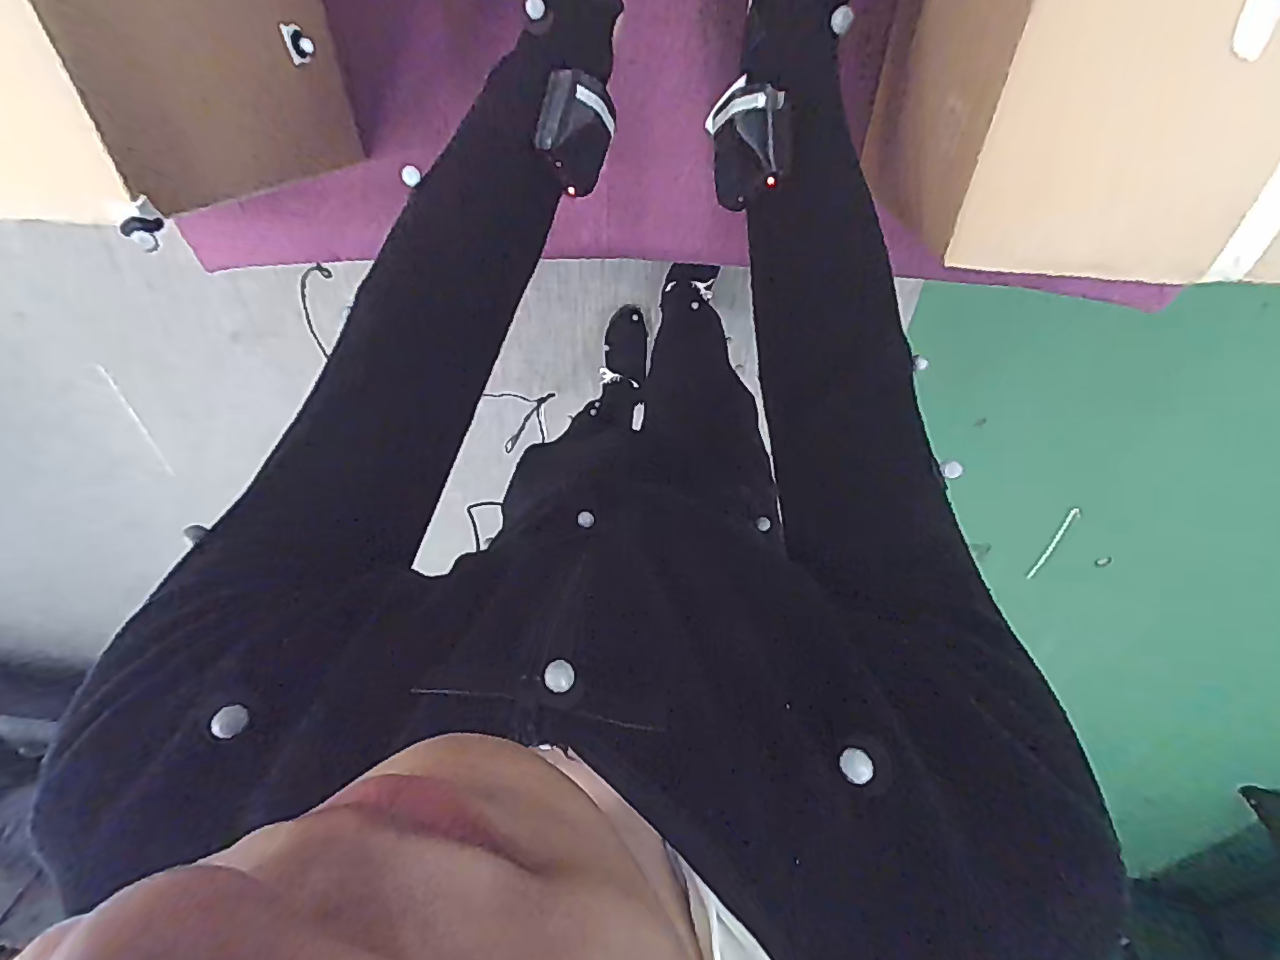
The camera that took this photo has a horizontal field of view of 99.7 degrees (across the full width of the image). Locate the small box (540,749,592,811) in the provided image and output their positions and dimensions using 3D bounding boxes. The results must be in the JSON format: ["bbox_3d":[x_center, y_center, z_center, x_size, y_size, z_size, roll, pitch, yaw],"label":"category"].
[{"bbox_3d":[-0.289,1.207,2.162,0.168,0.176,0.179,2,129,6],"label":"small box"}]

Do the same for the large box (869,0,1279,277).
[{"bbox_3d":[0.372,-0.374,0.324,0.320,0.320,0.408,6,129,6],"label":"large box"}]
